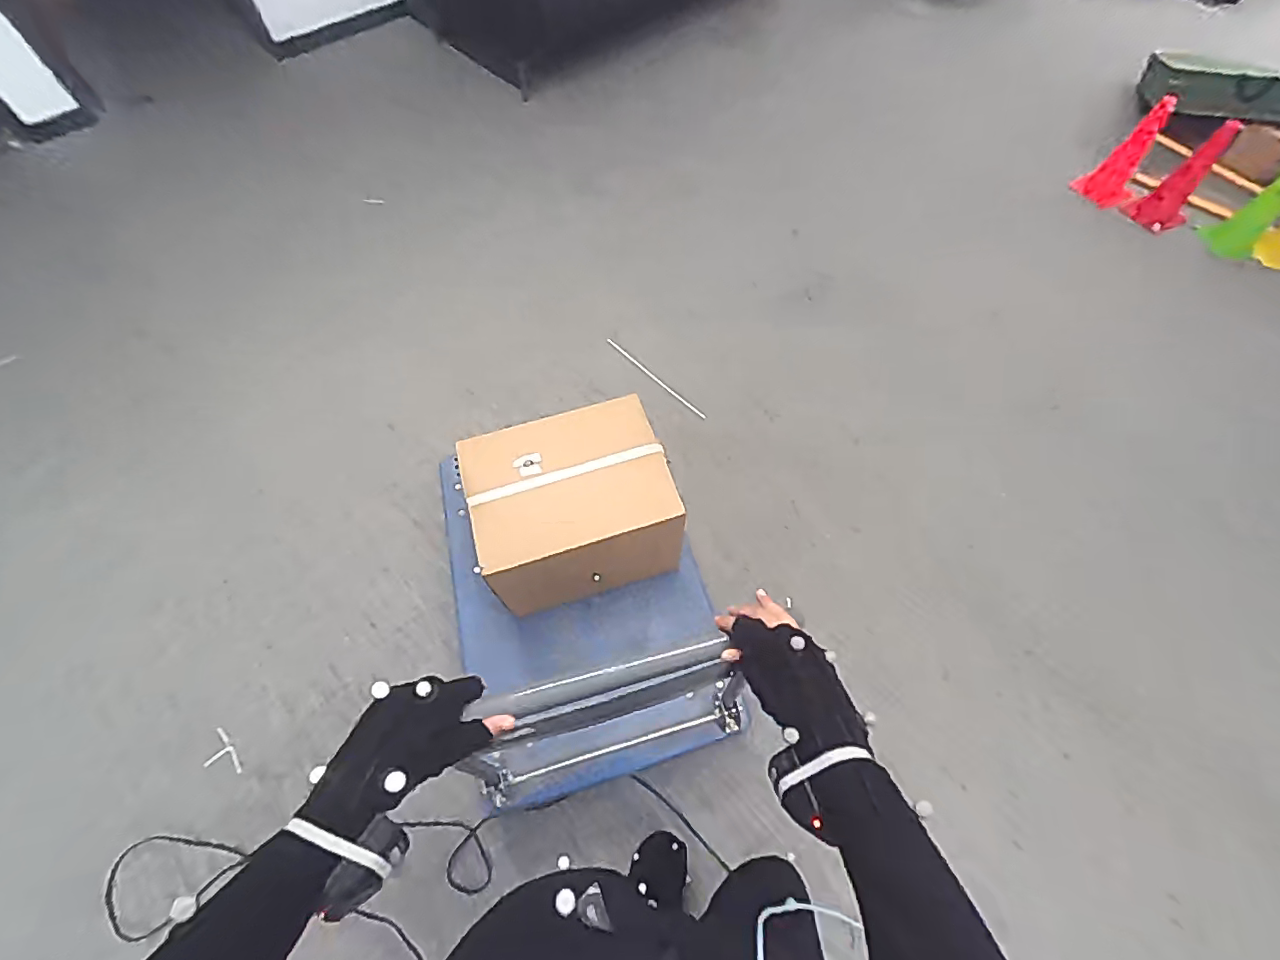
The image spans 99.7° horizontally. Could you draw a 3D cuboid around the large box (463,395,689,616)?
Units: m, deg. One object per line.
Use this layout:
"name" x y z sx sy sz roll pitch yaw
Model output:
"large box" -0.133 0.068 1.229 0.408 0.320 0.320 -18 62 -8
